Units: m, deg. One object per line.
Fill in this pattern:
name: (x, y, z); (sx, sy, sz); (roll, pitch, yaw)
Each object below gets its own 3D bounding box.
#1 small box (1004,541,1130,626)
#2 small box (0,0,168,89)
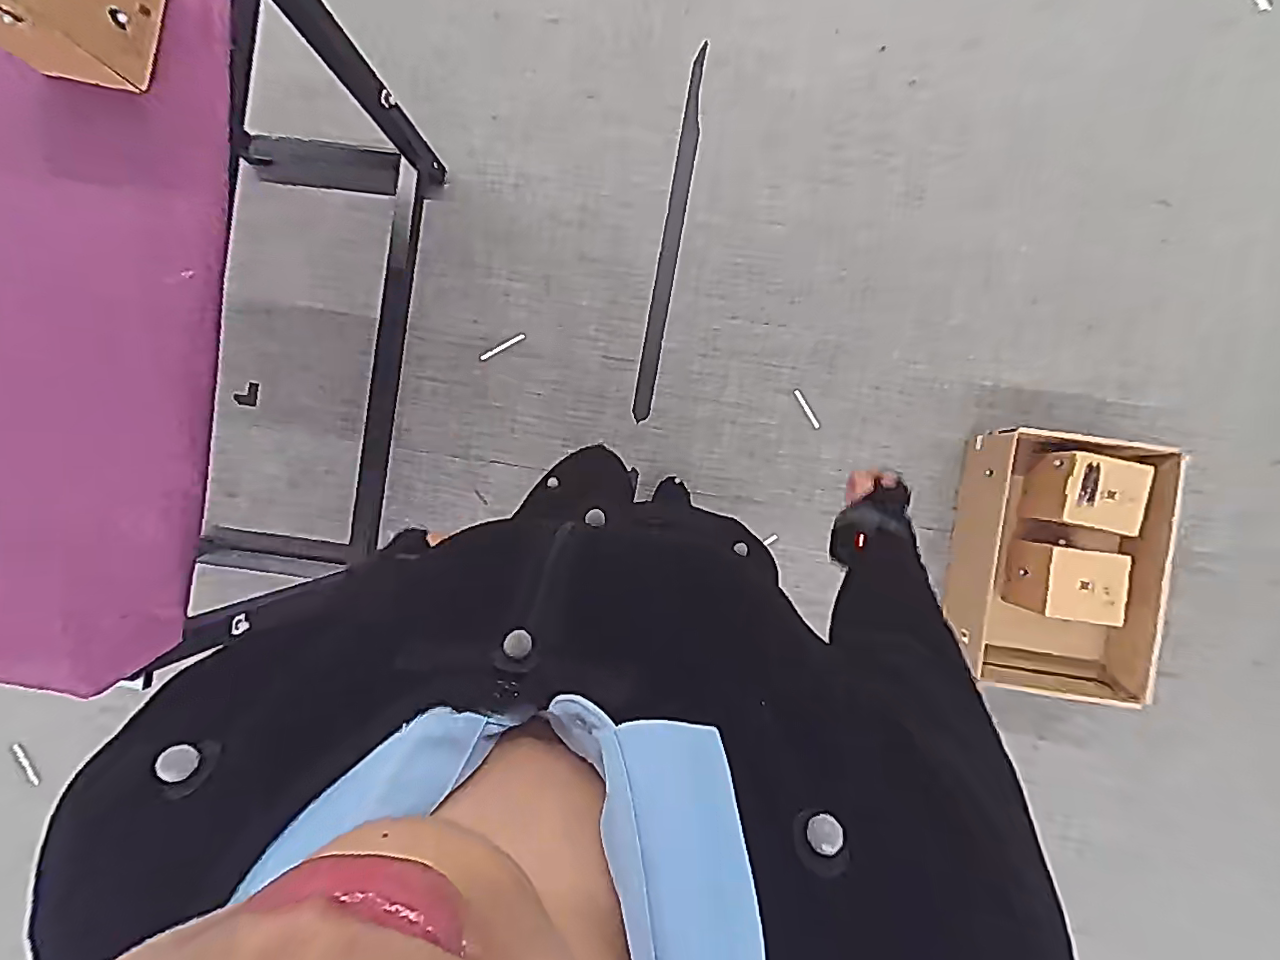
small box: (1.031, 0.245, 1.321); (0.179, 0.176, 0.168); (7, 91, 3)
small box: (-0.797, -0.664, 0.719); (0.179, 0.176, 0.168); (13, 91, 4)
